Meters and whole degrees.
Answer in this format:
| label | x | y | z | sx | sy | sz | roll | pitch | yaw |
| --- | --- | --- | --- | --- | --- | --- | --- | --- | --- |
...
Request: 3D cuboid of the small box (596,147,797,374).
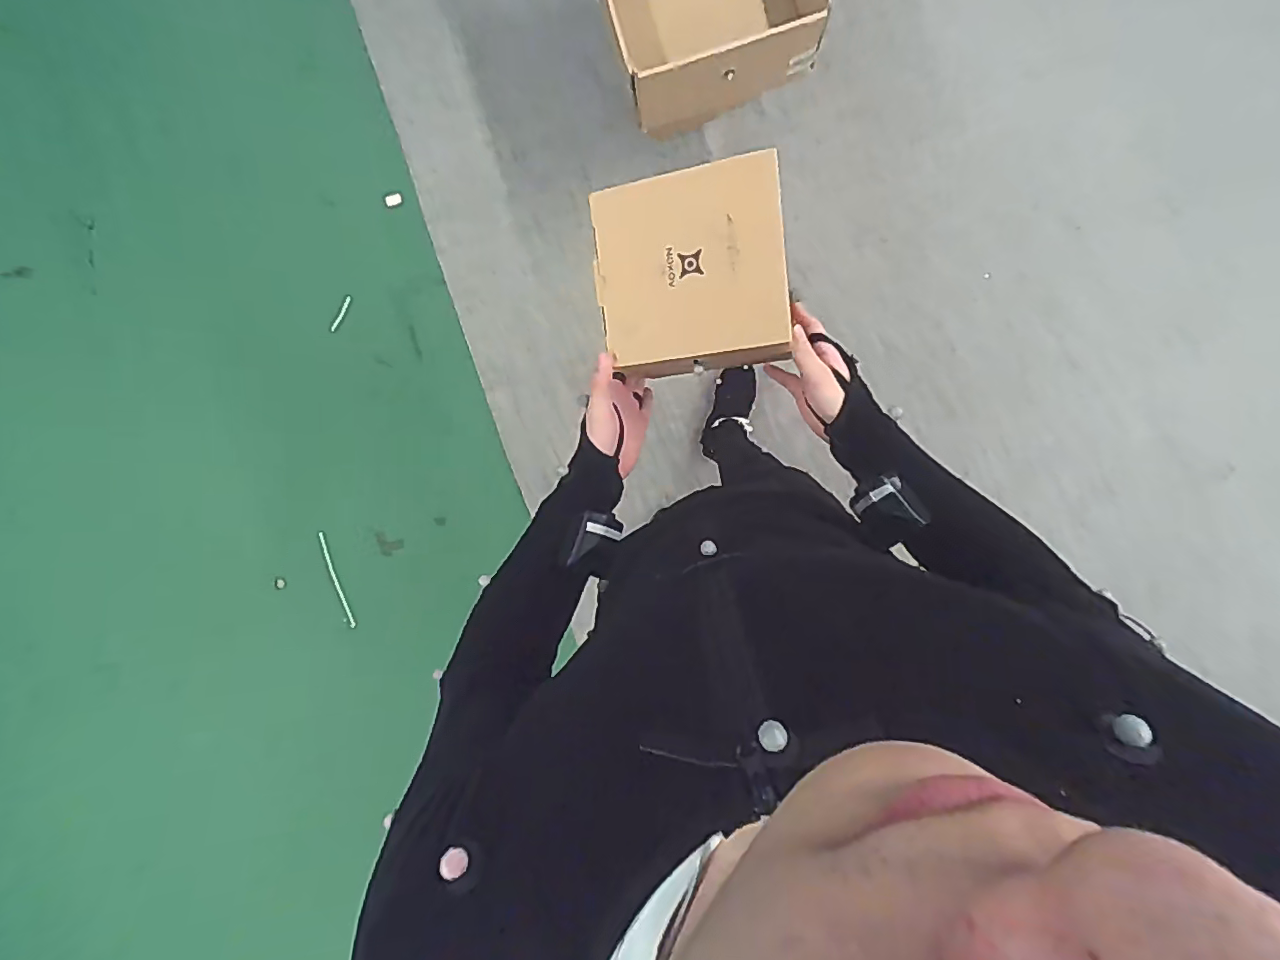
| label | x | y | z | sx | sy | sz | roll | pitch | yaw |
| --- | --- | --- | --- | --- | --- | --- | --- | --- | --- |
| small box | 0.070 | -0.207 | 0.568 | 0.179 | 0.176 | 0.168 | -5 | 96 | 16 |
